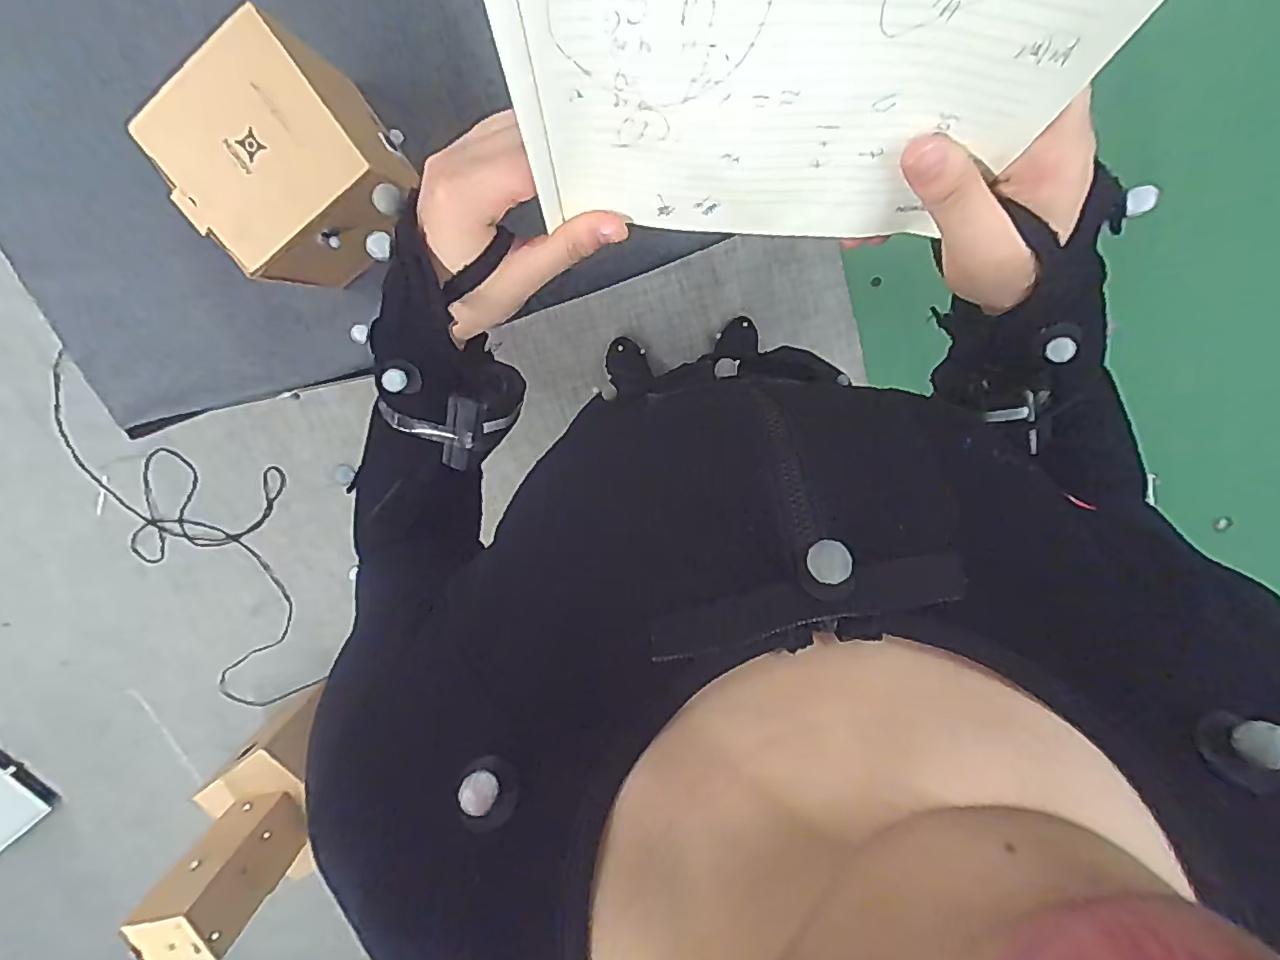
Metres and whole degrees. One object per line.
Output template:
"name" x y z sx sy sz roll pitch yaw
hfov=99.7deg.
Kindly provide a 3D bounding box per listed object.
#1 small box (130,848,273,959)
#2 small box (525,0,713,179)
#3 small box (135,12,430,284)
"small box" -1.055 1.040 1.316 0.179 0.176 0.168 -15 106 9
"small box" -0.015 -0.429 0.549 0.168 0.176 0.179 -2 106 5
"small box" -0.372 -0.338 0.600 0.179 0.176 0.168 -34 102 11
